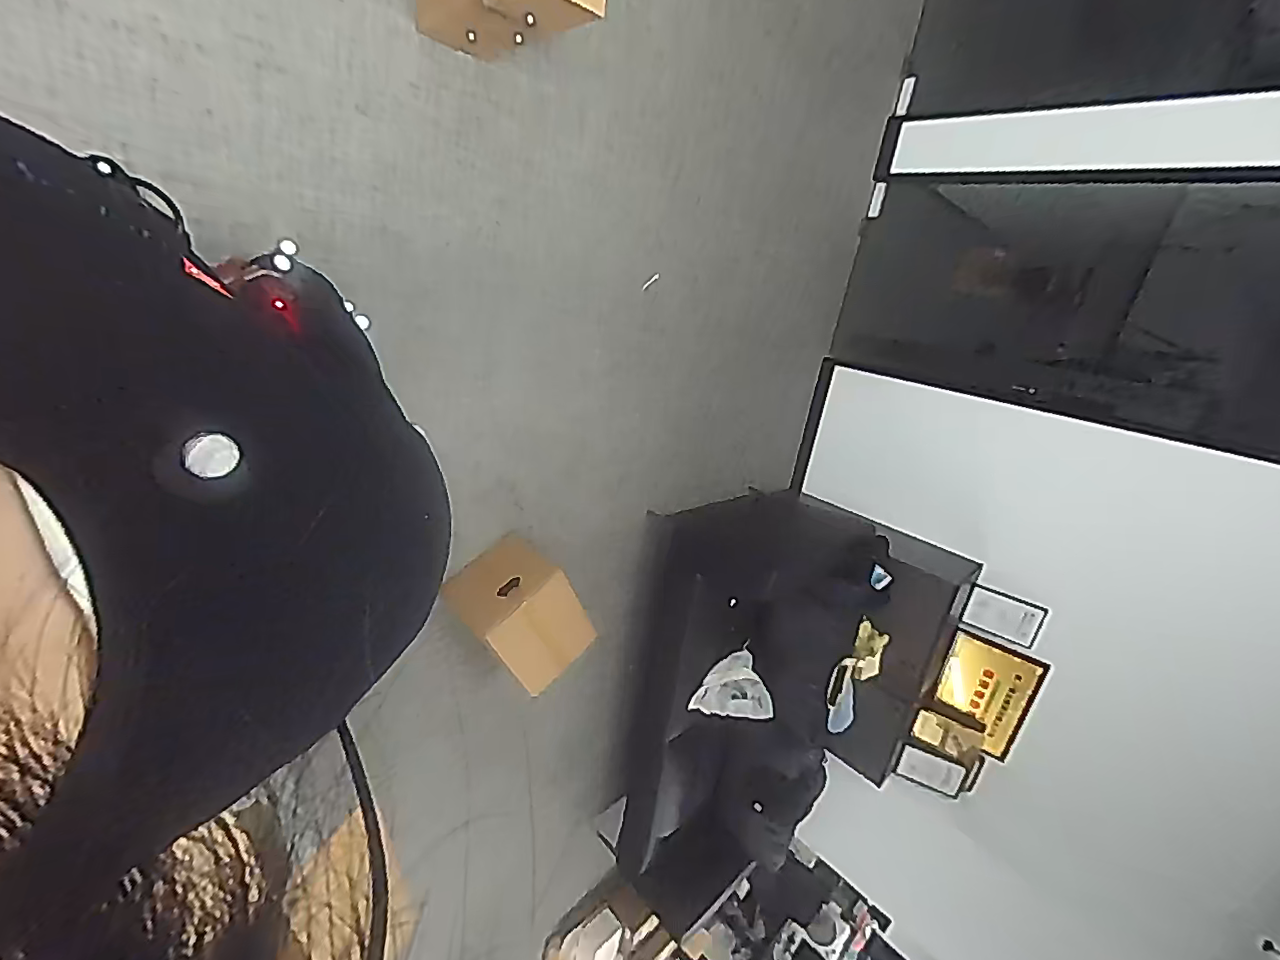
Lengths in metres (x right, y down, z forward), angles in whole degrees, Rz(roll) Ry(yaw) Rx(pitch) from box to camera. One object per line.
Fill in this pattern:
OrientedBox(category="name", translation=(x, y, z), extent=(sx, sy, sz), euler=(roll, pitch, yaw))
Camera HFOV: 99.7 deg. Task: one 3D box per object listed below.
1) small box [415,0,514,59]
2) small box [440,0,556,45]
OrientedBox(category="small box", translation=(-0.391, -1.091, 1.214), extent=(0.168, 0.176, 0.179), euler=(-9, 116, -44))
OrientedBox(category="small box", translation=(-0.287, -1.029, 1.106), extent=(0.179, 0.176, 0.168), euler=(-9, 115, -44))
